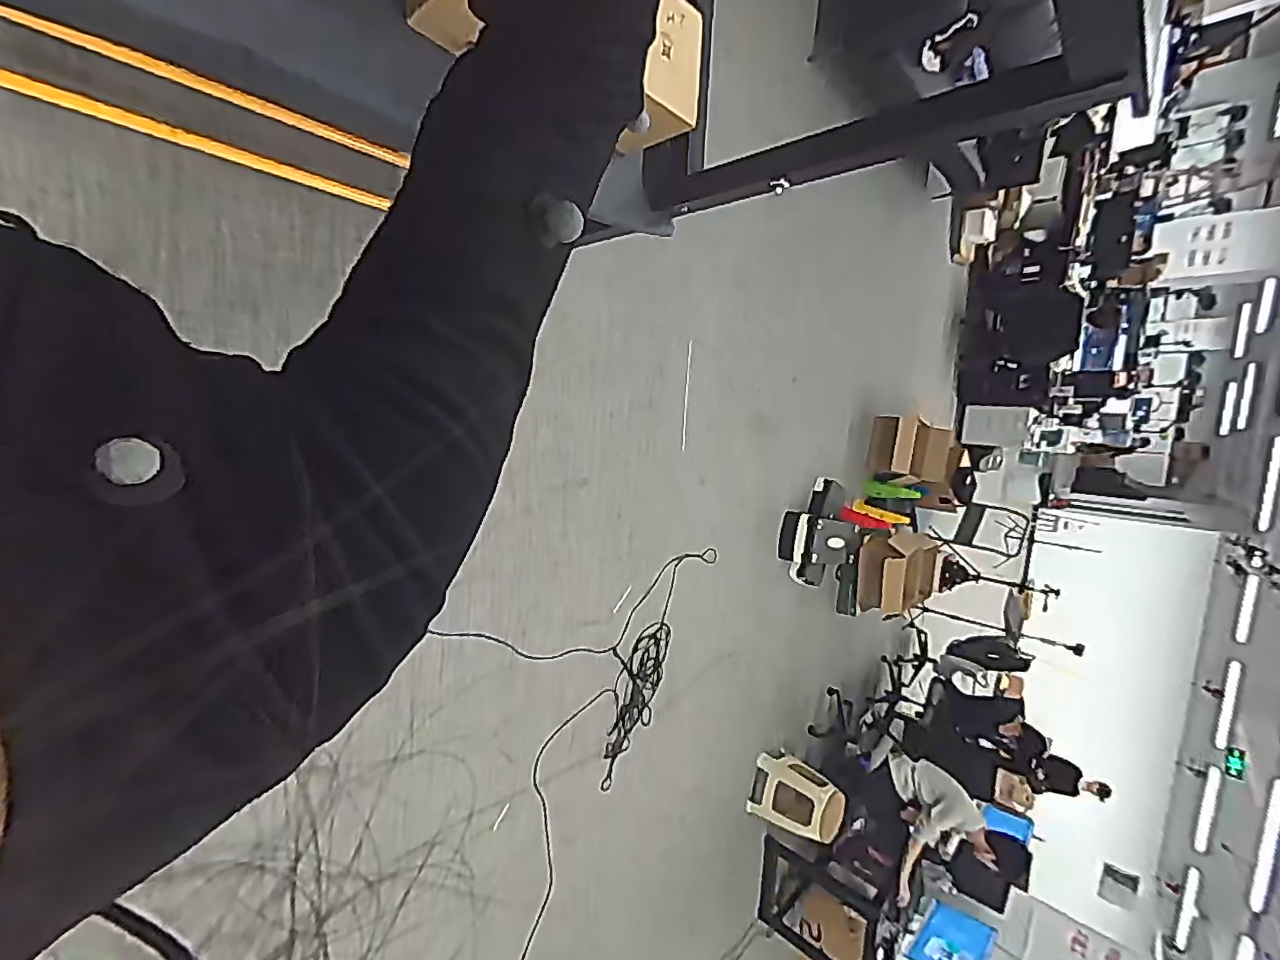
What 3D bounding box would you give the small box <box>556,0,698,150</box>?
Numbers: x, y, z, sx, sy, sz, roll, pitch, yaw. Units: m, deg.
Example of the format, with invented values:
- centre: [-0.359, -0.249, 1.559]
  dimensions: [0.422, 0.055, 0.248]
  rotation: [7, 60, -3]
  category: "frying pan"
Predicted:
- centre: [-0.024, -0.684, 0.894]
  dimensions: [0.168, 0.176, 0.179]
  rotation: [-3, 99, -47]
  category: "small box"
